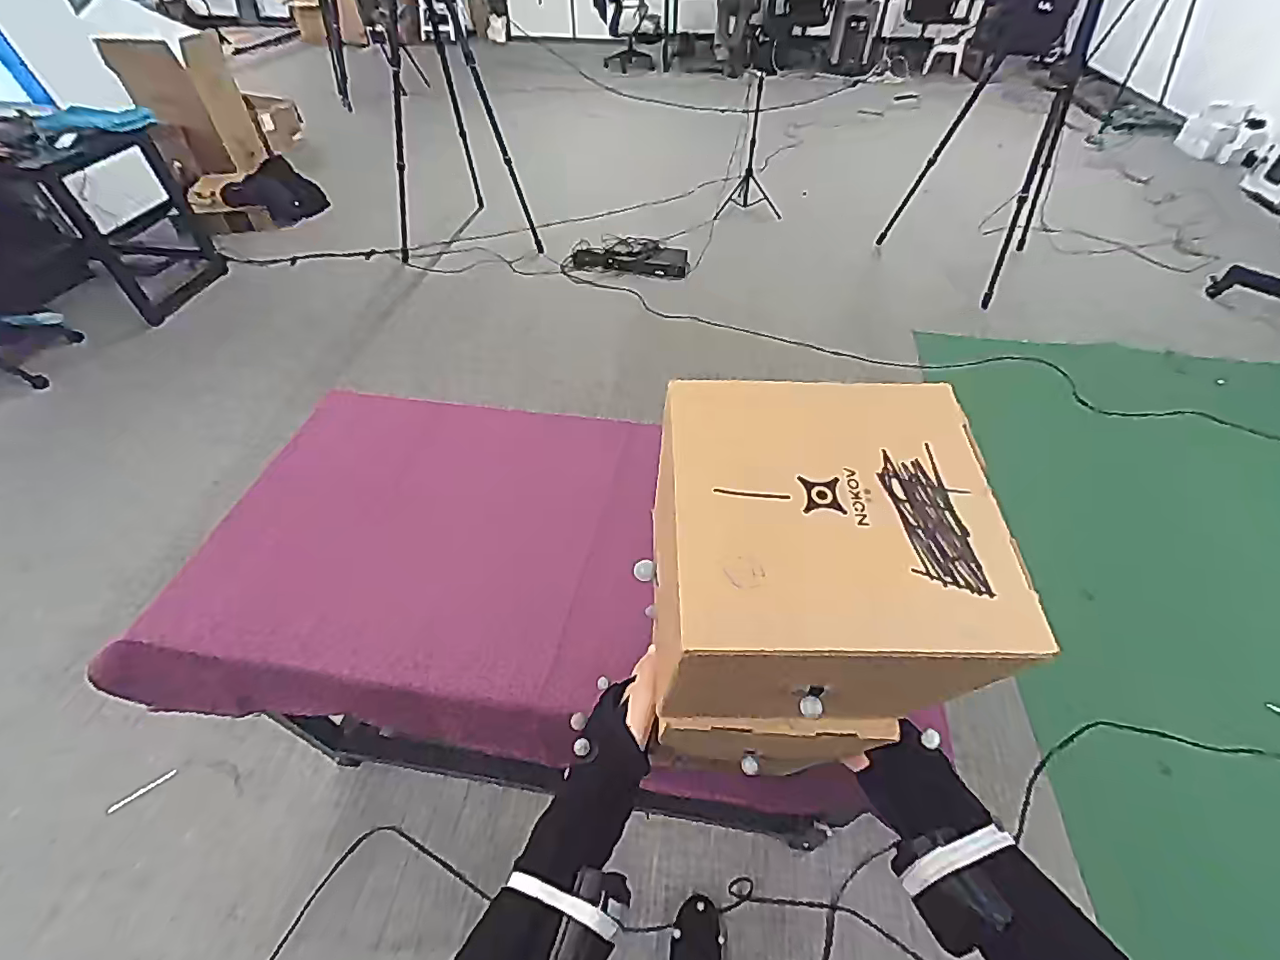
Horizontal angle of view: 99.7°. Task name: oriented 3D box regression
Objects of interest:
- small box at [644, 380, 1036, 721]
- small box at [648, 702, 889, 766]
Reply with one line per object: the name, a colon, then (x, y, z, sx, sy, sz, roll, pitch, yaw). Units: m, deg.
small box: (0.095, 0.055, 0.354, 0.179, 0.176, 0.168, 1, 56, -1)
small box: (0.095, 0.147, 0.490, 0.168, 0.176, 0.179, 3, 57, 0)
